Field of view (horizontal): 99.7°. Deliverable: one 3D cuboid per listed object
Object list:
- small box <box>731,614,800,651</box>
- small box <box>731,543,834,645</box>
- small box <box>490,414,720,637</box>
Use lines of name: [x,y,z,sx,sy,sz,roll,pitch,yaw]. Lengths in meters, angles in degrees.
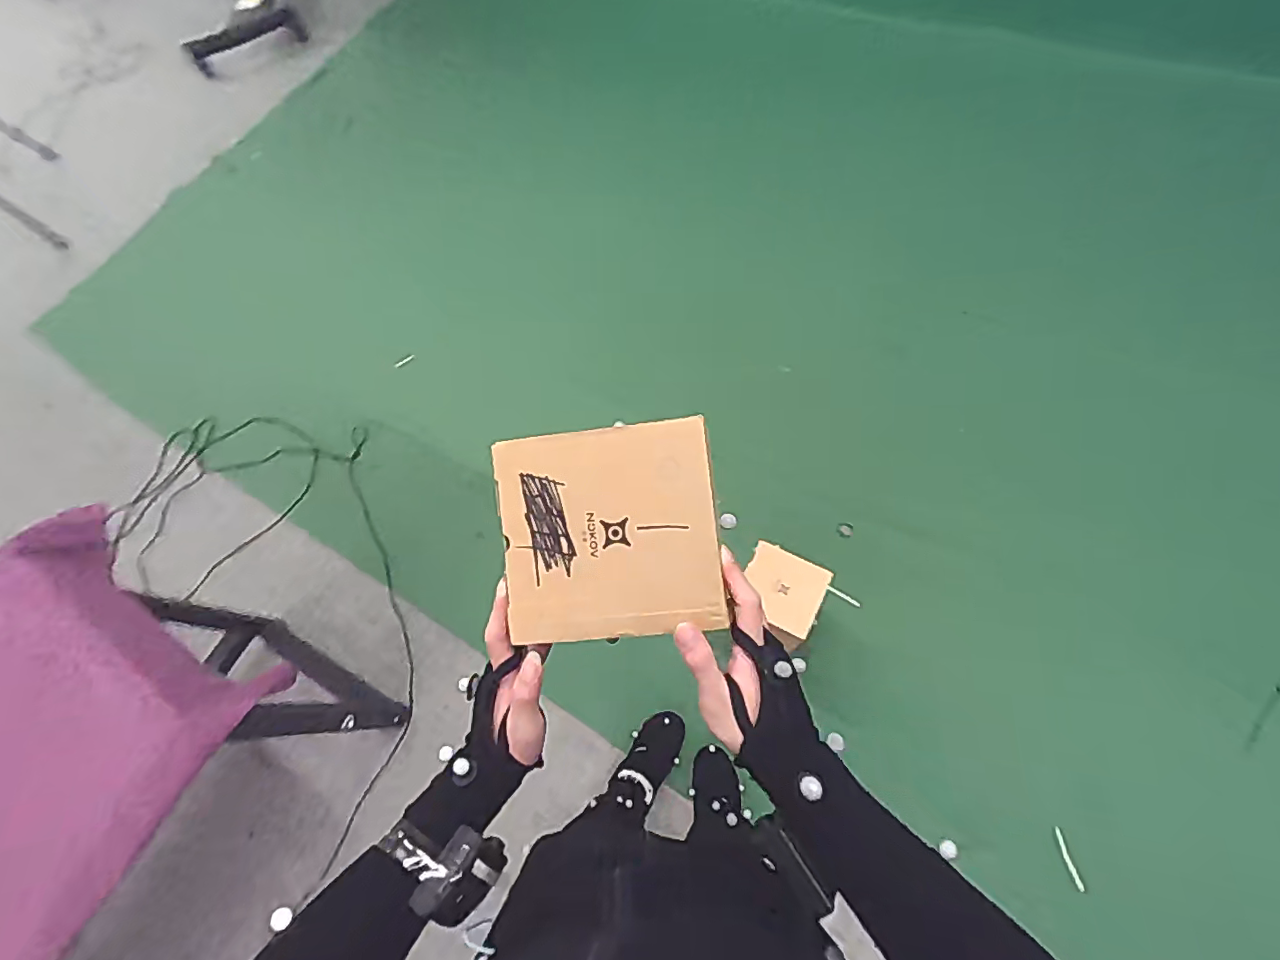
small box: [0.351,0.336,1.419,0.179,0.176,0.168,23,72,17]
small box: [0.328,0.274,1.271,0.179,0.176,0.168,25,73,18]
small box: [-0.020,0.042,0.507,0.179,0.176,0.168,-7,86,7]
